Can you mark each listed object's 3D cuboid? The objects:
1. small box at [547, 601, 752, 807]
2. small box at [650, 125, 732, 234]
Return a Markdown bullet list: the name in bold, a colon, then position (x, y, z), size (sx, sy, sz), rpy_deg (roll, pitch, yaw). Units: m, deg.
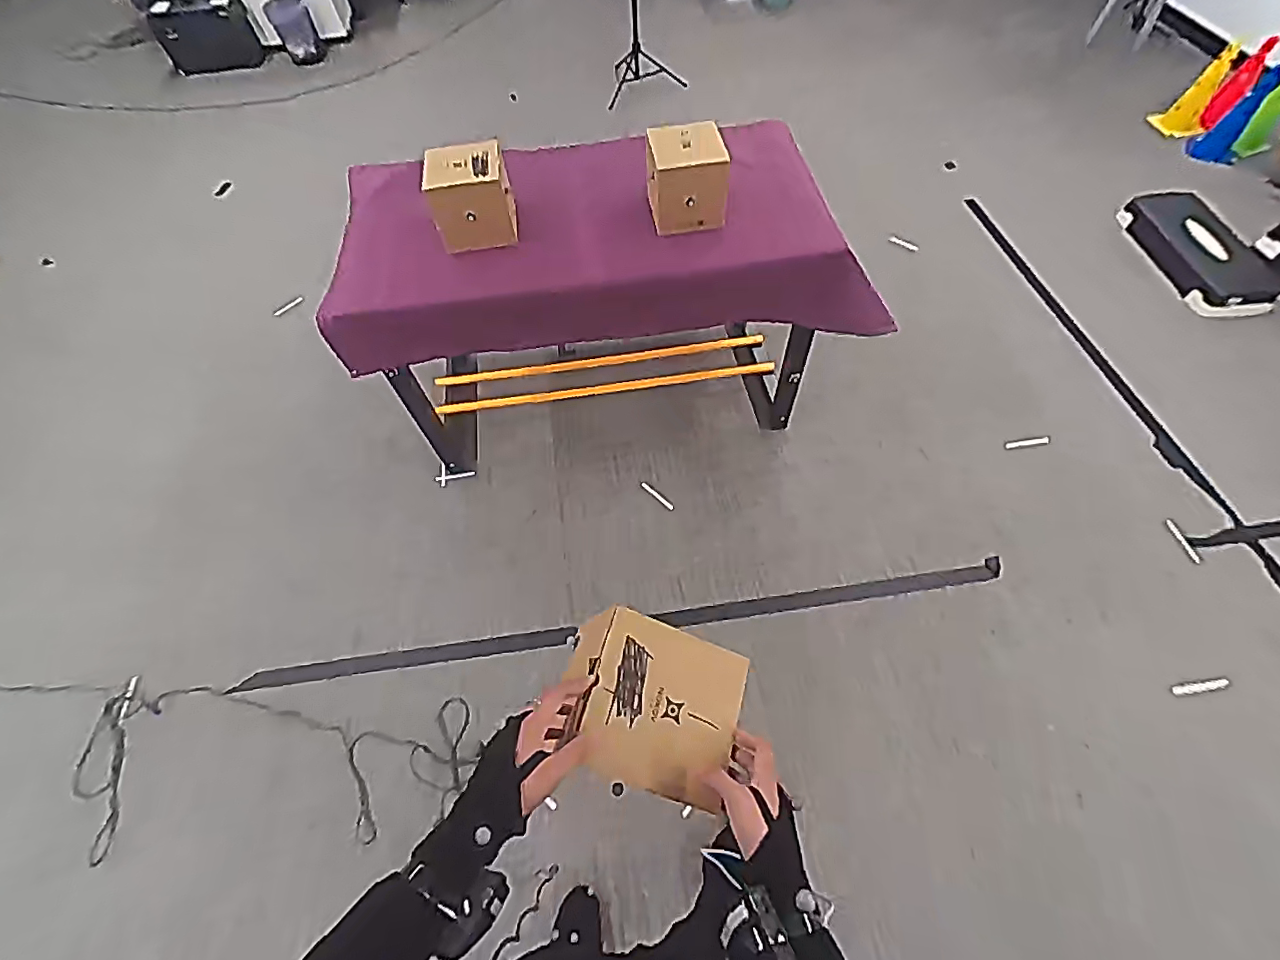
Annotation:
- **small box**: position (0.004, 0.266, 0.652), size (0.179, 0.176, 0.168), rpy_deg (25, 63, -11)
- **small box**: position (0.119, -0.717, 1.304), size (0.168, 0.176, 0.179), rpy_deg (-8, 59, -2)
